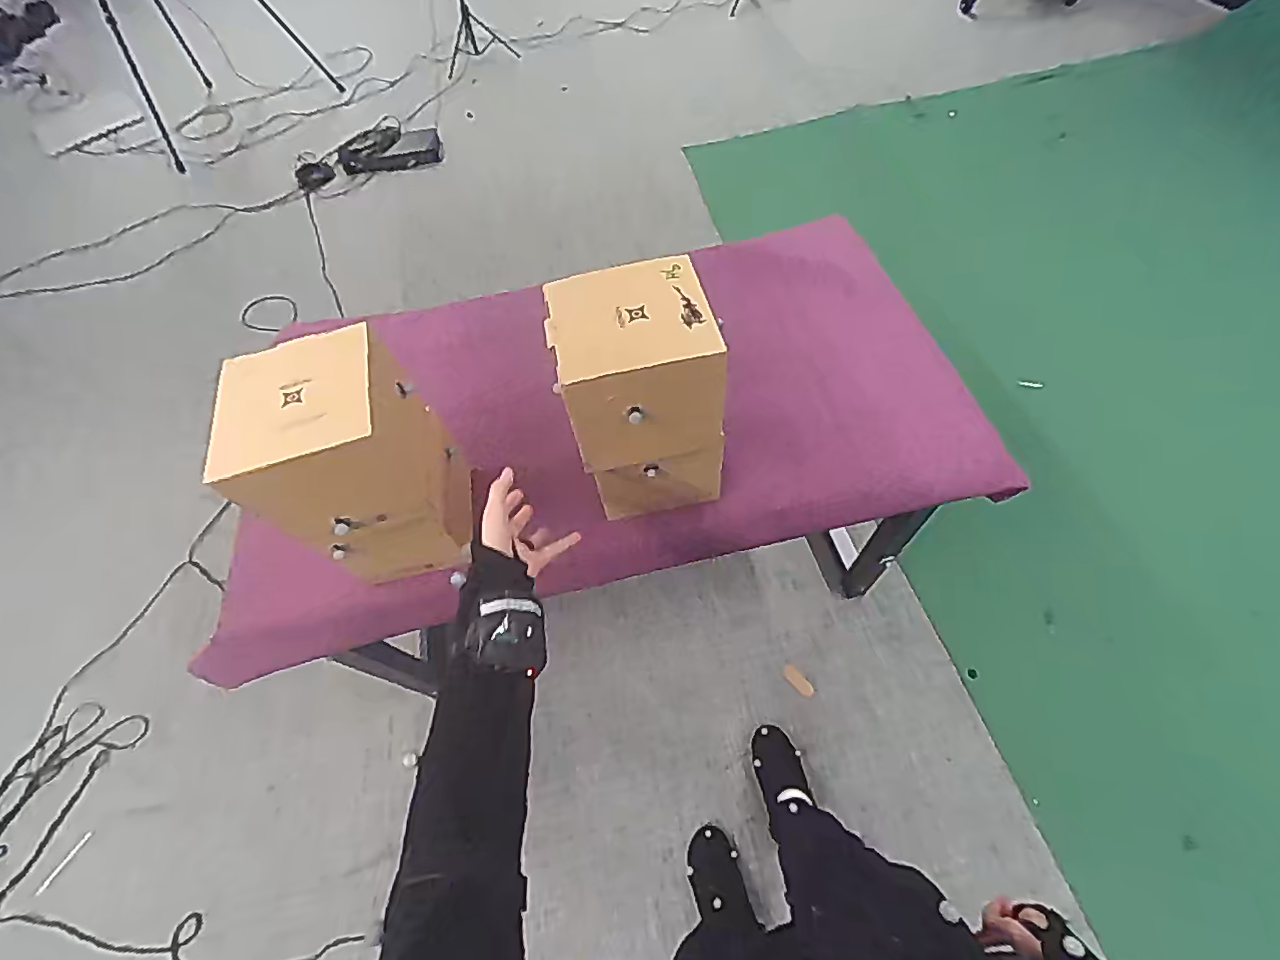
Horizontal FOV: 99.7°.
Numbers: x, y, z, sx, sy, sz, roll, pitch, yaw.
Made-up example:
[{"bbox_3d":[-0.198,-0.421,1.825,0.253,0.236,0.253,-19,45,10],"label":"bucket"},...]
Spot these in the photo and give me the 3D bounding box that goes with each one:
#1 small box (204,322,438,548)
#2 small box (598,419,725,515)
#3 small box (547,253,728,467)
[{"bbox_3d":[-0.351,-0.048,0.631,0.168,0.176,0.179,-17,58,-4],"label":"small box"},{"bbox_3d":[0.020,-0.065,0.797,0.179,0.176,0.168,-11,58,-2],"label":"small box"},{"bbox_3d":[0.000,-0.135,0.649,0.179,0.176,0.168,-12,59,-1],"label":"small box"}]
